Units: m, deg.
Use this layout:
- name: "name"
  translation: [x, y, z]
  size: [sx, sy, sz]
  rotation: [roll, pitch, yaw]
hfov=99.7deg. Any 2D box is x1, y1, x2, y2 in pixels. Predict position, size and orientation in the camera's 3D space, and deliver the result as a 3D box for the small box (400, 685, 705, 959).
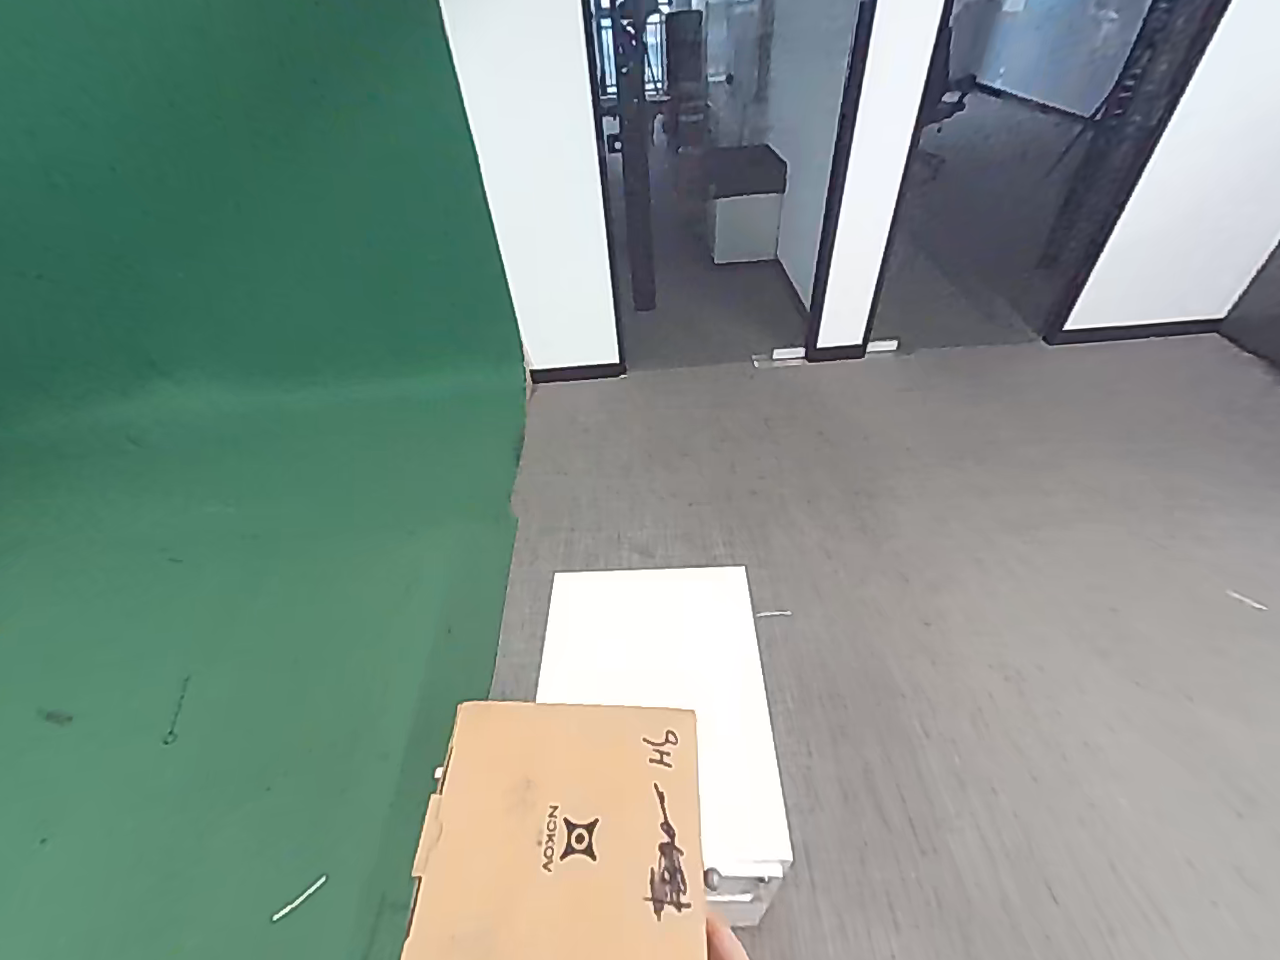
- name: "small box"
  translation: [-0.048, 0.271, 0.412]
  size: [0.179, 0.176, 0.168]
  rotation: [2, 49, 0]
